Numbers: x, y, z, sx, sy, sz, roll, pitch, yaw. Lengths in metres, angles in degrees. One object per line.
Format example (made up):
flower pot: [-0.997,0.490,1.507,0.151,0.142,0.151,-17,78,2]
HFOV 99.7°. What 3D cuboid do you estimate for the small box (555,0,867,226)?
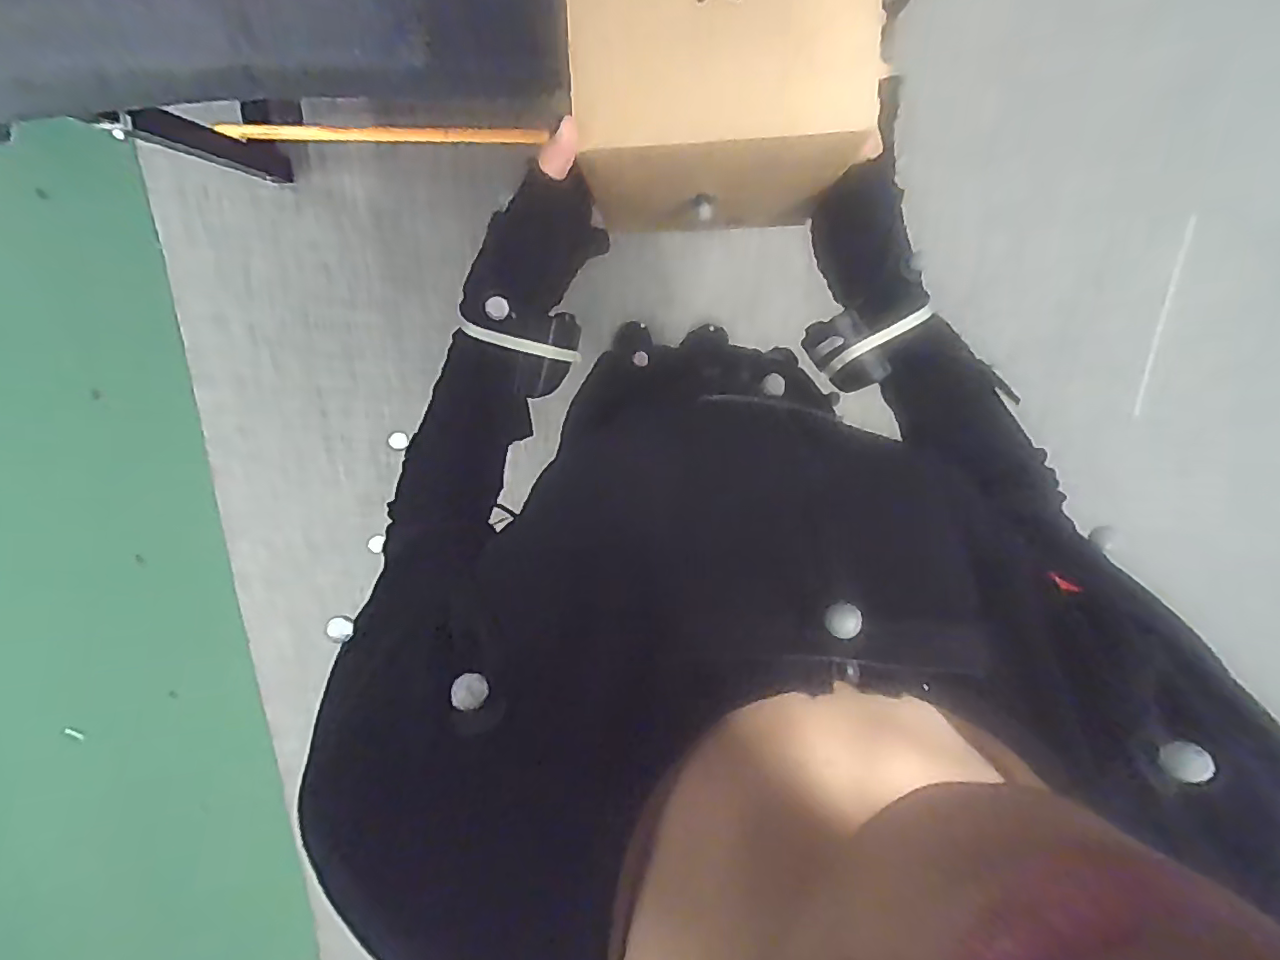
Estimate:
small box: [0.043,-0.281,0.359,0.168,0.176,0.179,-1,98,5]
